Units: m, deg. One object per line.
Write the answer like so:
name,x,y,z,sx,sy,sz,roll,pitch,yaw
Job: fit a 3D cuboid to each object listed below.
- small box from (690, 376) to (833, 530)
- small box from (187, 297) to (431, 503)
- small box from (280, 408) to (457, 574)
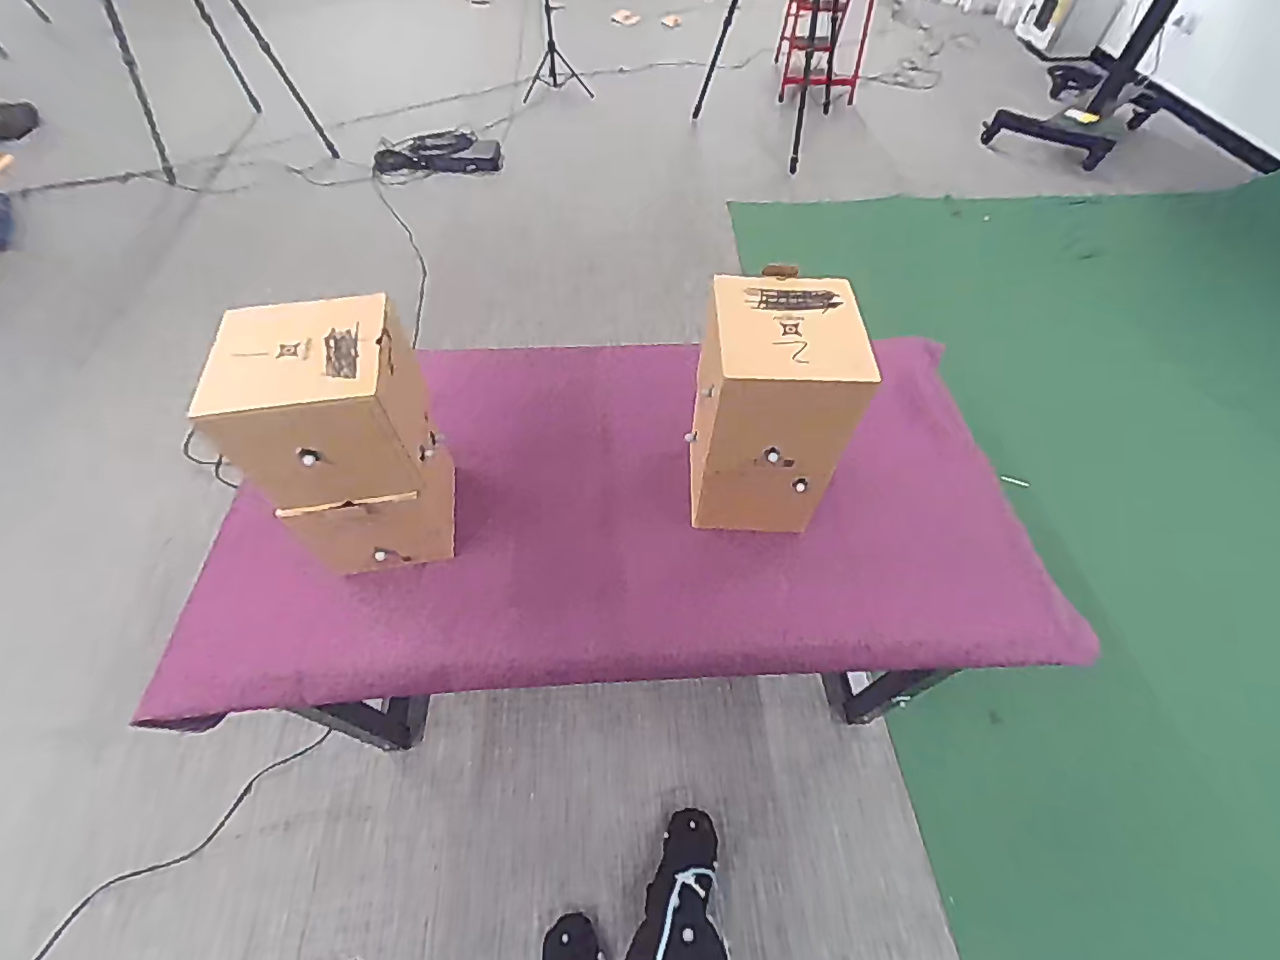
small box,0.167,-0.036,0.808,0.179,0.176,0.168,2,55,1
small box,-0.359,-0.090,0.634,0.179,0.176,0.168,-6,53,-5
small box,-0.366,0.011,0.768,0.168,0.176,0.179,-8,56,-6
